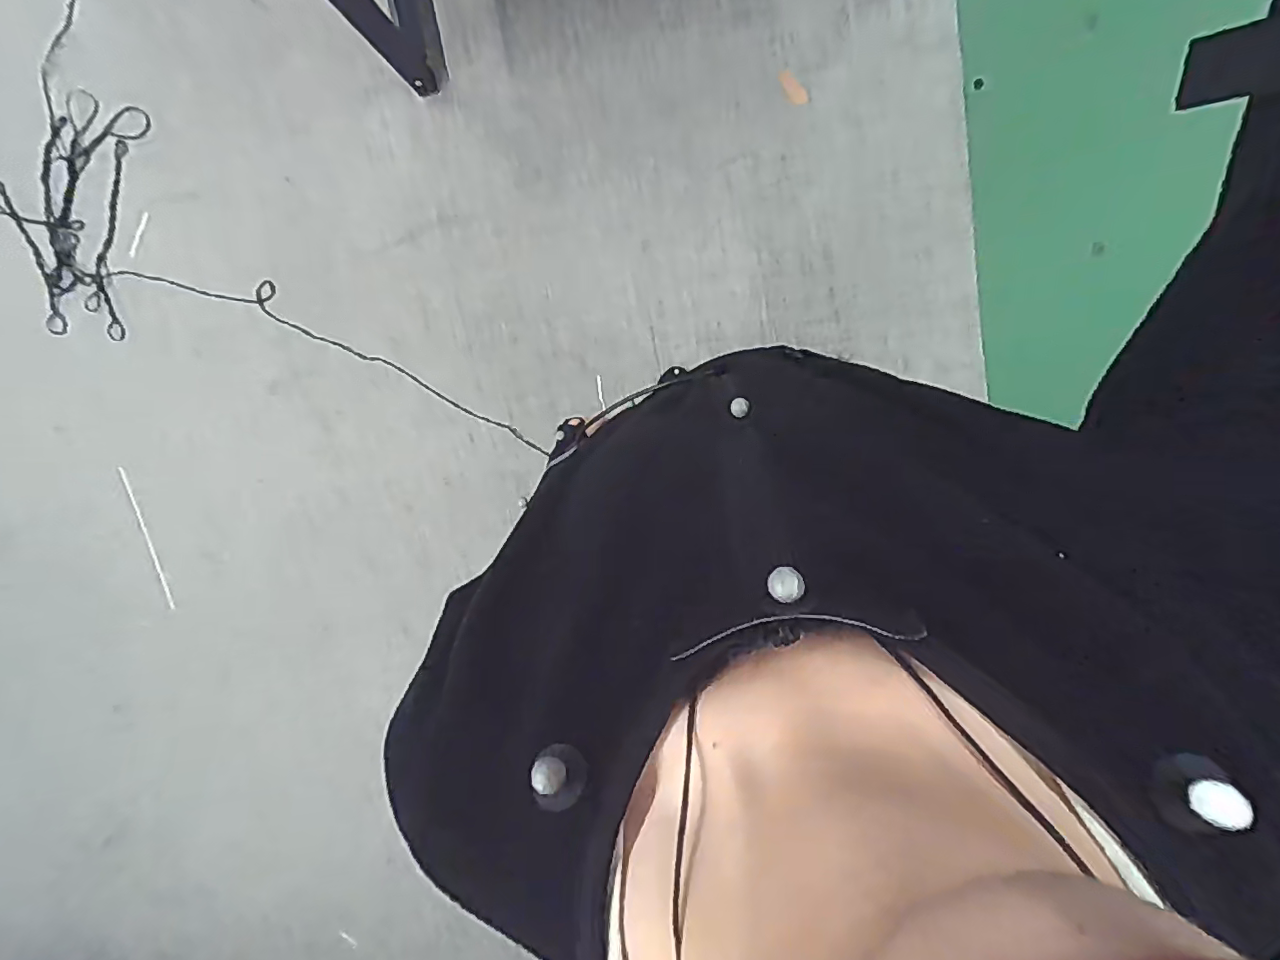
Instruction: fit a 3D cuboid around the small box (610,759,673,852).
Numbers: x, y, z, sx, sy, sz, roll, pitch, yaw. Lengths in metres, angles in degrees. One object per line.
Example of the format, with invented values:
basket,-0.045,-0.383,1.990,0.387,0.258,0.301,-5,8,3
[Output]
small box,0.008,0.952,1.593,0.168,0.176,0.179,-2,101,7
